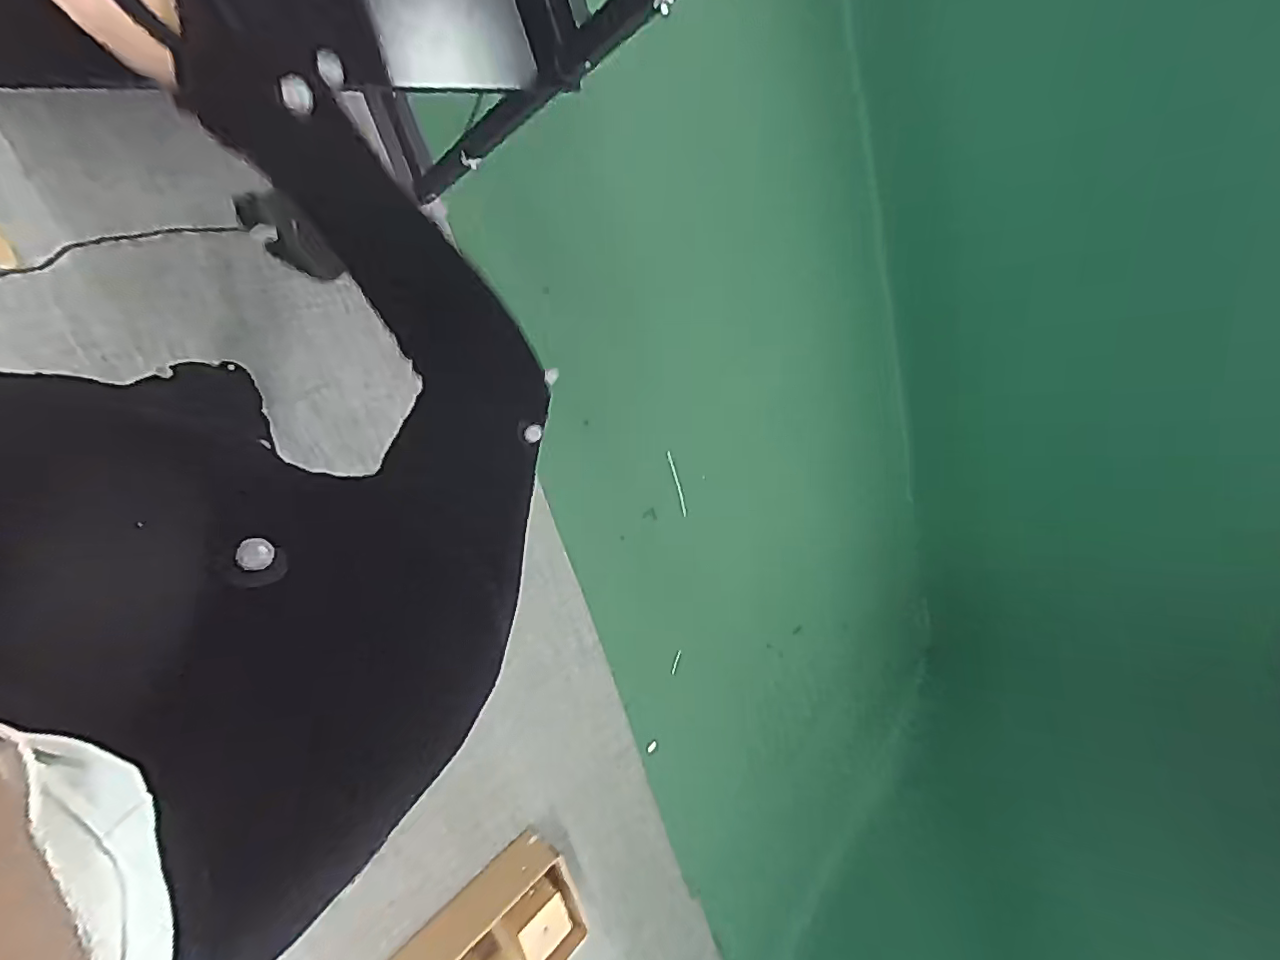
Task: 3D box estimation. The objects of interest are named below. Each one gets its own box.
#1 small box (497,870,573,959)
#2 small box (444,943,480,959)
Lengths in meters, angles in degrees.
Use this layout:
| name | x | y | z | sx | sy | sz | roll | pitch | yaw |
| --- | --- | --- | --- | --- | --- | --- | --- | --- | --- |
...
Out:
| name | x | y | z | sx | sy | sz | roll | pitch | yaw |
| --- | --- | --- | --- | --- | --- | --- | --- | --- | --- |
| small box | -0.361 | 1.478 | 1.837 | 0.168 | 0.176 | 0.179 | -29 | 112 | -38 |
| small box | -0.552 | 1.588 | 1.660 | 0.168 | 0.176 | 0.179 | -28 | 111 | -40 |
